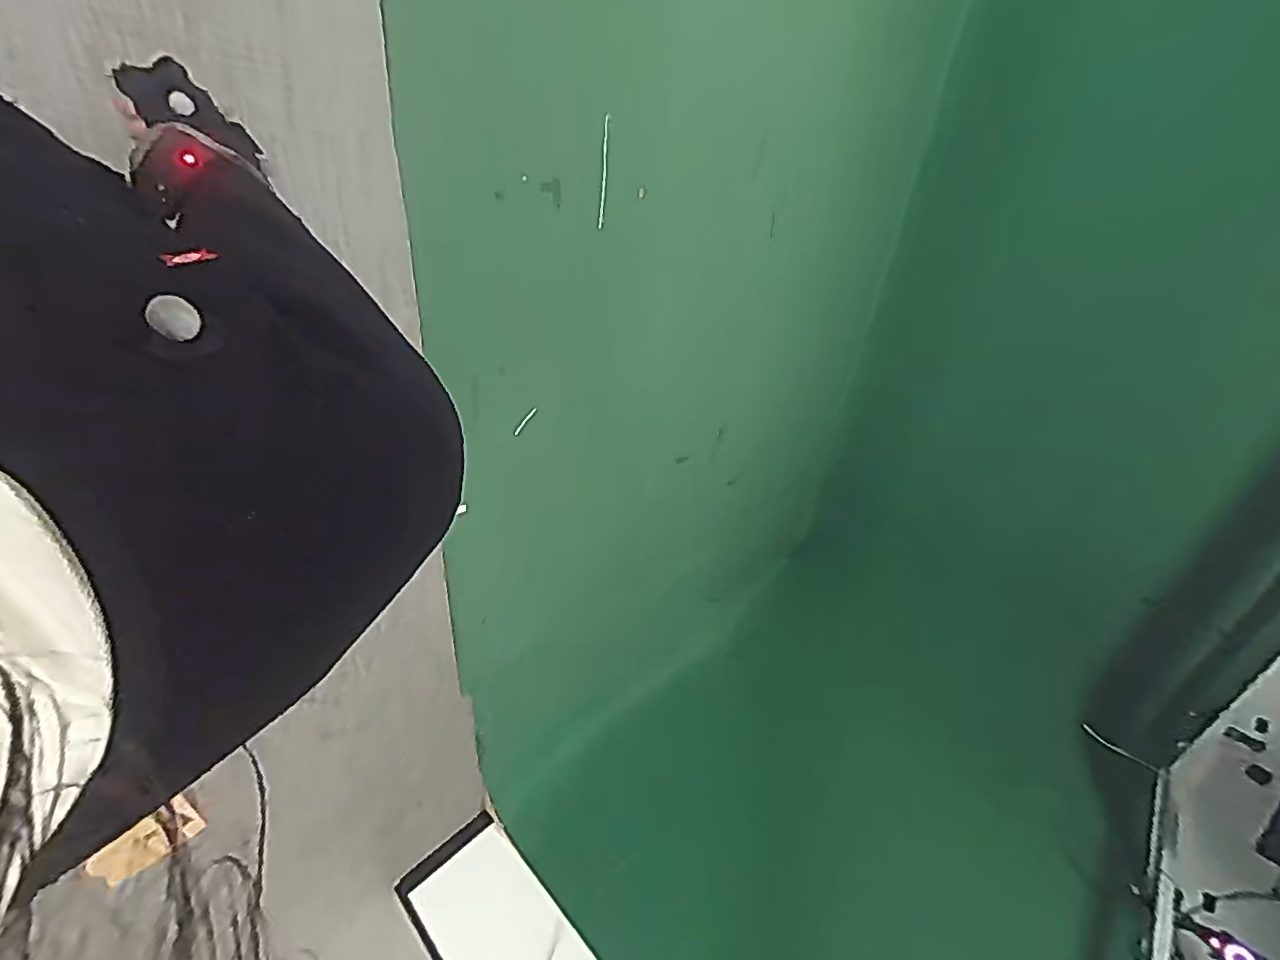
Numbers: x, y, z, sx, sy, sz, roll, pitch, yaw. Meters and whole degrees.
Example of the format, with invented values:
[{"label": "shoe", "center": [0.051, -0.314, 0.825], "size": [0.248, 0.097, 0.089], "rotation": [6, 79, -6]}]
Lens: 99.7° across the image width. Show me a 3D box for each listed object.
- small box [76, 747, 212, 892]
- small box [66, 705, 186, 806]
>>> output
[{"label": "small box", "center": [-1.109, 0.750, 1.209], "size": [0.179, 0.176, 0.168], "rotation": [-28, 134, -38]}, {"label": "small box", "center": [-1.230, 0.690, 1.301], "size": [0.179, 0.176, 0.168], "rotation": [-27, 133, -41]}]
